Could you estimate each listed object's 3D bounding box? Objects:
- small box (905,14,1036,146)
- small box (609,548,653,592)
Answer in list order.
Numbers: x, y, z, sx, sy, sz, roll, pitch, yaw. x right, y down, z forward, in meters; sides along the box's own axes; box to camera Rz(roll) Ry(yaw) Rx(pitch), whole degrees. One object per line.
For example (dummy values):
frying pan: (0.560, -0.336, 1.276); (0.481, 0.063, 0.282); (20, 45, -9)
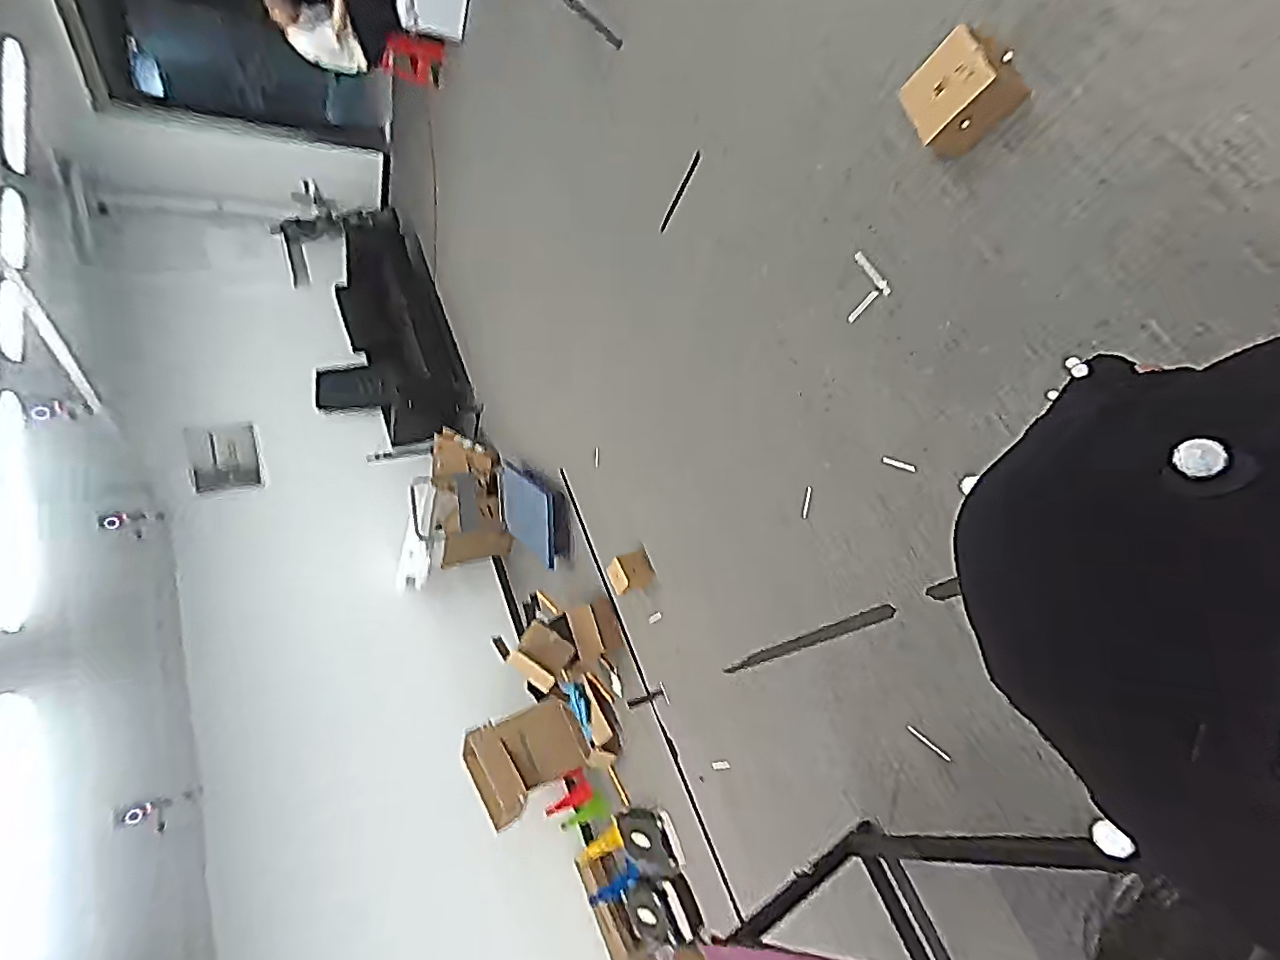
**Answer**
small box: (0.773, -0.924, 1.269); (0.179, 0.176, 0.168); (-36, 69, 56)
small box: (-0.045, 0.498, 3.015); (0.168, 0.176, 0.179); (62, 145, 25)
